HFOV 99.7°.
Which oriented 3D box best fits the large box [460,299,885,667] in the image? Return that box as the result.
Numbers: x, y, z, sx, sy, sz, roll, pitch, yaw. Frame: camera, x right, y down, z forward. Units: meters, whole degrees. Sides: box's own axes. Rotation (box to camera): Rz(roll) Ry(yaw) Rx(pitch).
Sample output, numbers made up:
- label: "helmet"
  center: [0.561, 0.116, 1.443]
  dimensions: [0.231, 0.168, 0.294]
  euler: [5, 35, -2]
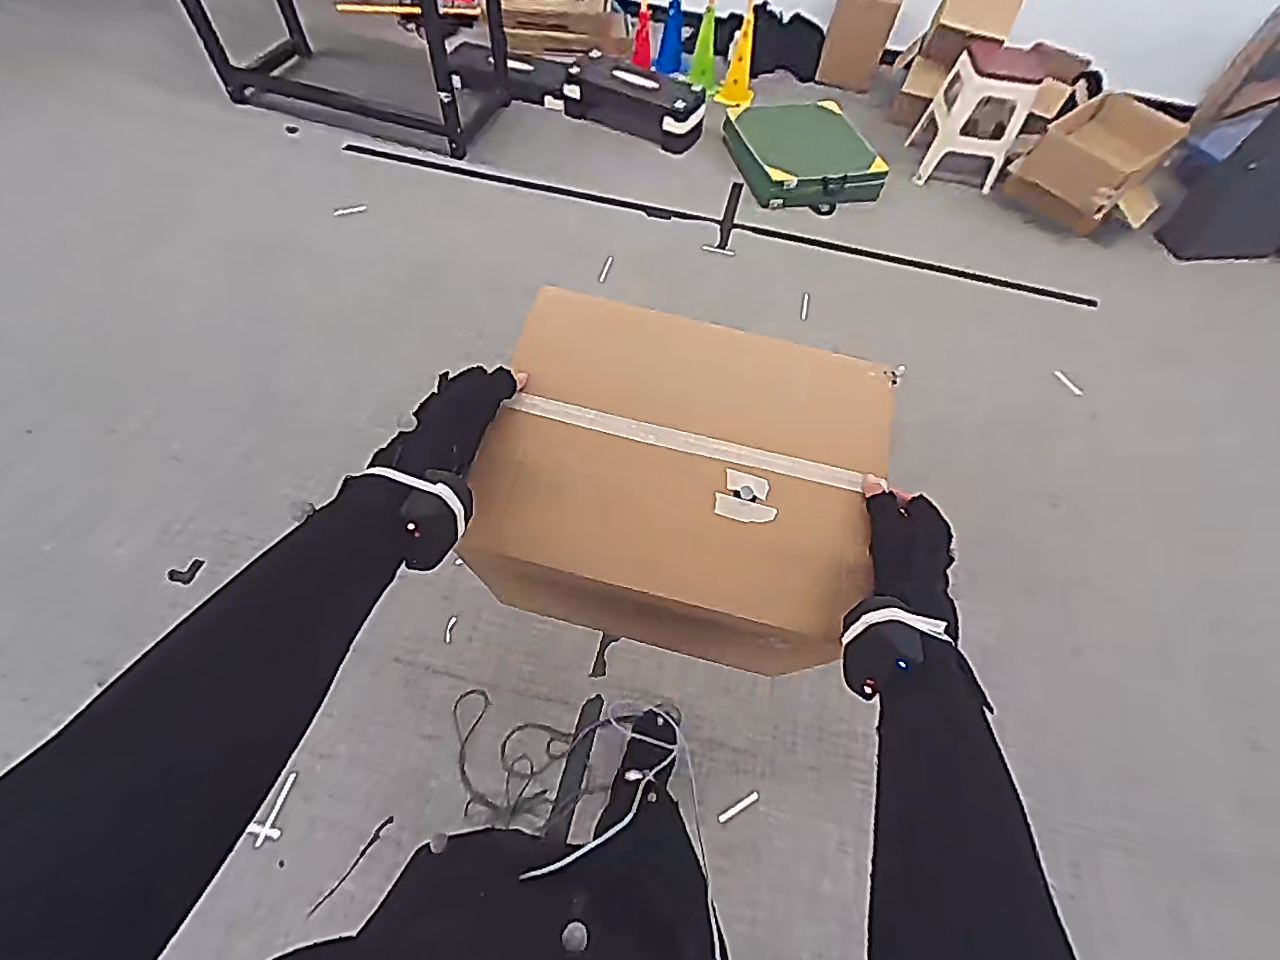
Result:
- label: "large box"
  center: [0.042, 0.026, 0.700]
  dimensions: [0.408, 0.320, 0.320]
  euler: [14, 67, 3]
